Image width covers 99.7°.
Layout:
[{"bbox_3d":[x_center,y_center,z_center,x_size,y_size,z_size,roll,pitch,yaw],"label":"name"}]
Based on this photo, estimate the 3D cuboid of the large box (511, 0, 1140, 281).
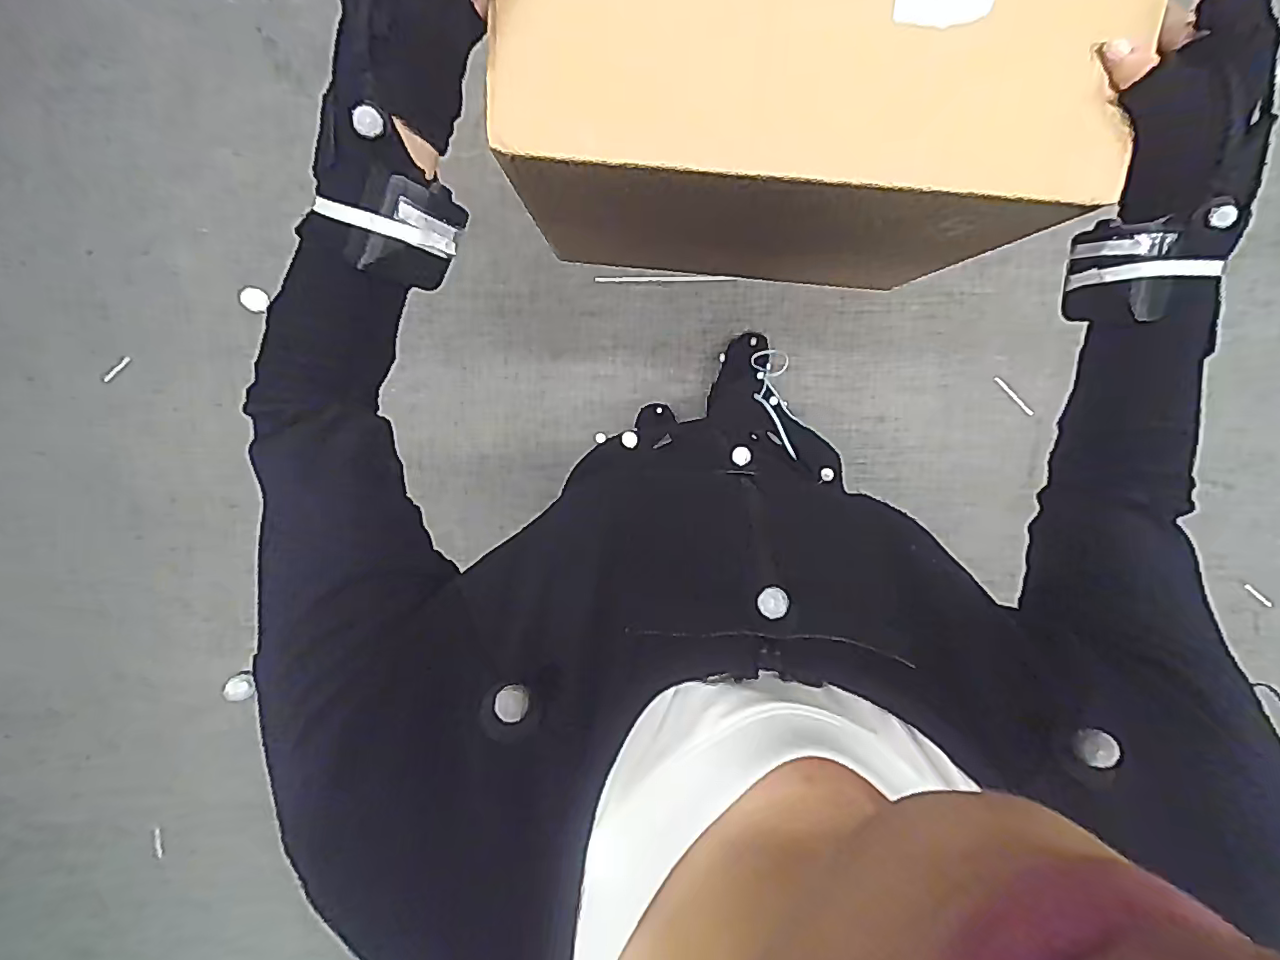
[{"bbox_3d":[0.116,-0.376,0.478,0.408,0.320,0.320,4,100,-2],"label":"large box"}]
